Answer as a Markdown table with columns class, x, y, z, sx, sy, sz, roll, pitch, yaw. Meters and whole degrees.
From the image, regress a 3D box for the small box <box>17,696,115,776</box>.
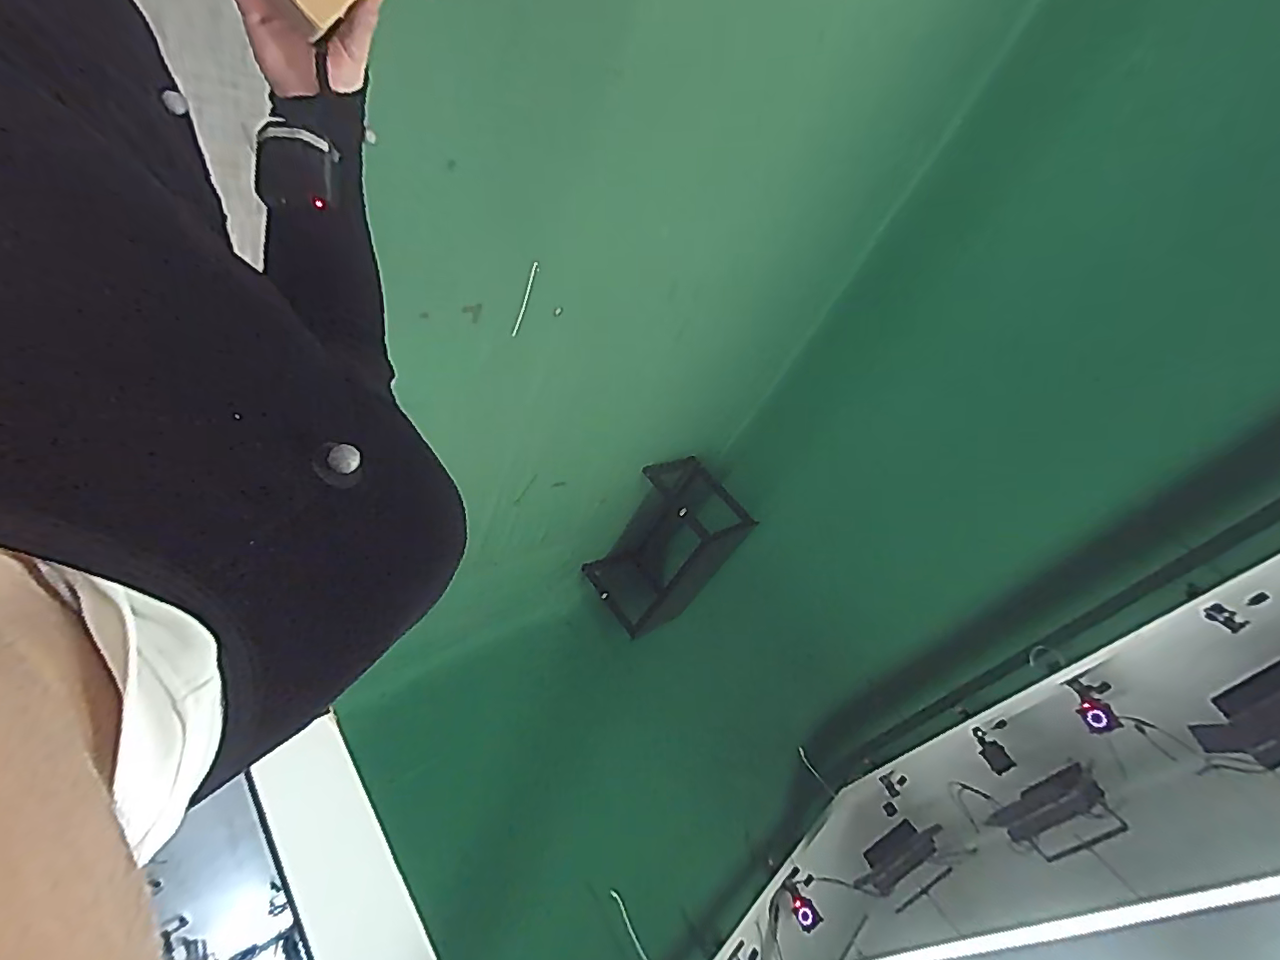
| class | x | y | z | sx | sy | sz | roll | pitch | yaw |
| --- | --- | --- | --- | --- | --- | --- | --- | --- | --- |
| small box | -1.632 | 0.756 | 1.544 | 0.168 | 0.176 | 0.179 | -16 | 144 | -45 |

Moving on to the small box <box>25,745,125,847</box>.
| class | x | y | z | sx | sy | sz | roll | pitch | yaw |
| --- | --- | --- | --- | --- | --- | --- | --- | --- | --- |
| small box | -1.532 | 0.864 | 1.476 | 0.168 | 0.176 | 0.179 | -15 | 144 | -44 |
